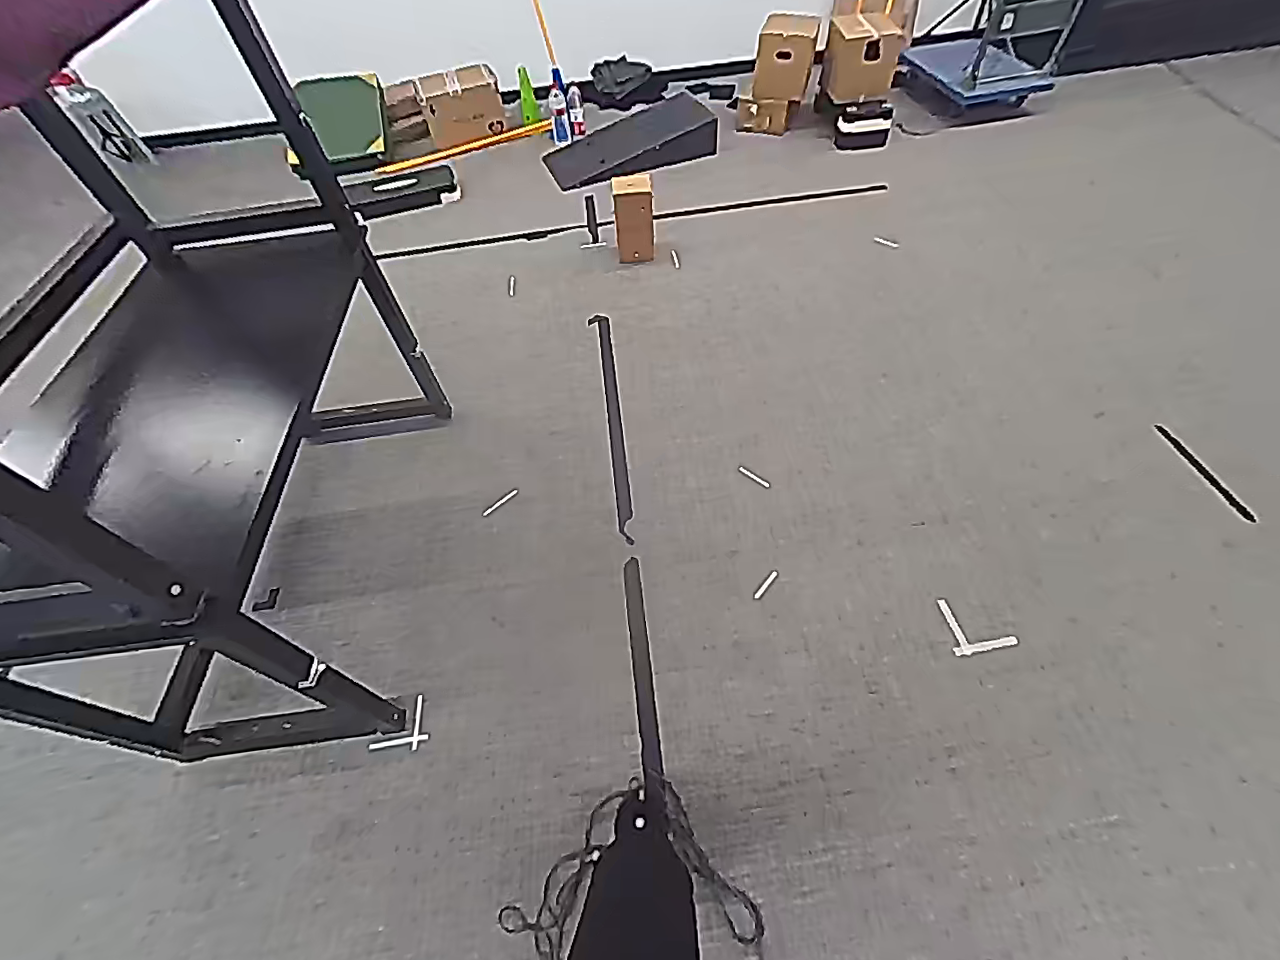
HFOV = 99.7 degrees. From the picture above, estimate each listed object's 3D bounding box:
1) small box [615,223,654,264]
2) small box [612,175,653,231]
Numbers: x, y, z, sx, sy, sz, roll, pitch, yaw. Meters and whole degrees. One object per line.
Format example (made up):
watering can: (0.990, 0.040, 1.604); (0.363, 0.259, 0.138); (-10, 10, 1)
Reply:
small box: (-0.028, -1.169, 2.609); (0.179, 0.176, 0.168); (-6, 53, -1)
small box: (-0.033, -1.266, 2.477); (0.179, 0.176, 0.168); (-5, 53, 2)
